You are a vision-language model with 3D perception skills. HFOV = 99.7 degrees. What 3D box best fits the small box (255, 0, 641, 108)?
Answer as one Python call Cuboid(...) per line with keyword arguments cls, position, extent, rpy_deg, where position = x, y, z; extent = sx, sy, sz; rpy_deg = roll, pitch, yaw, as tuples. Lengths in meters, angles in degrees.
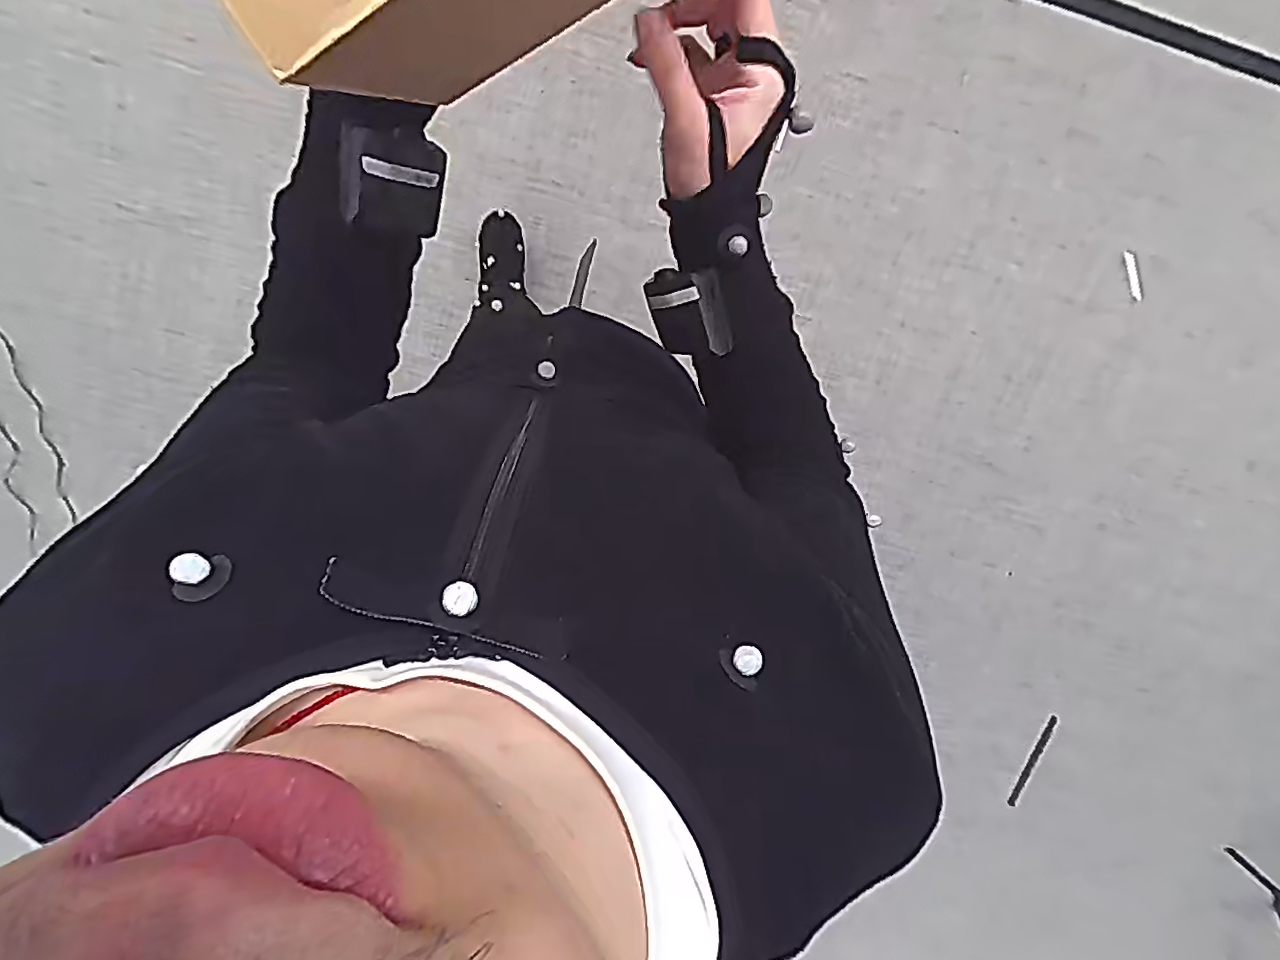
Cuboid(cls="small box", position=(-0.065, -0.264, 0.191), extent=(0.179, 0.176, 0.168), rpy_deg=(-22, 119, 14))
